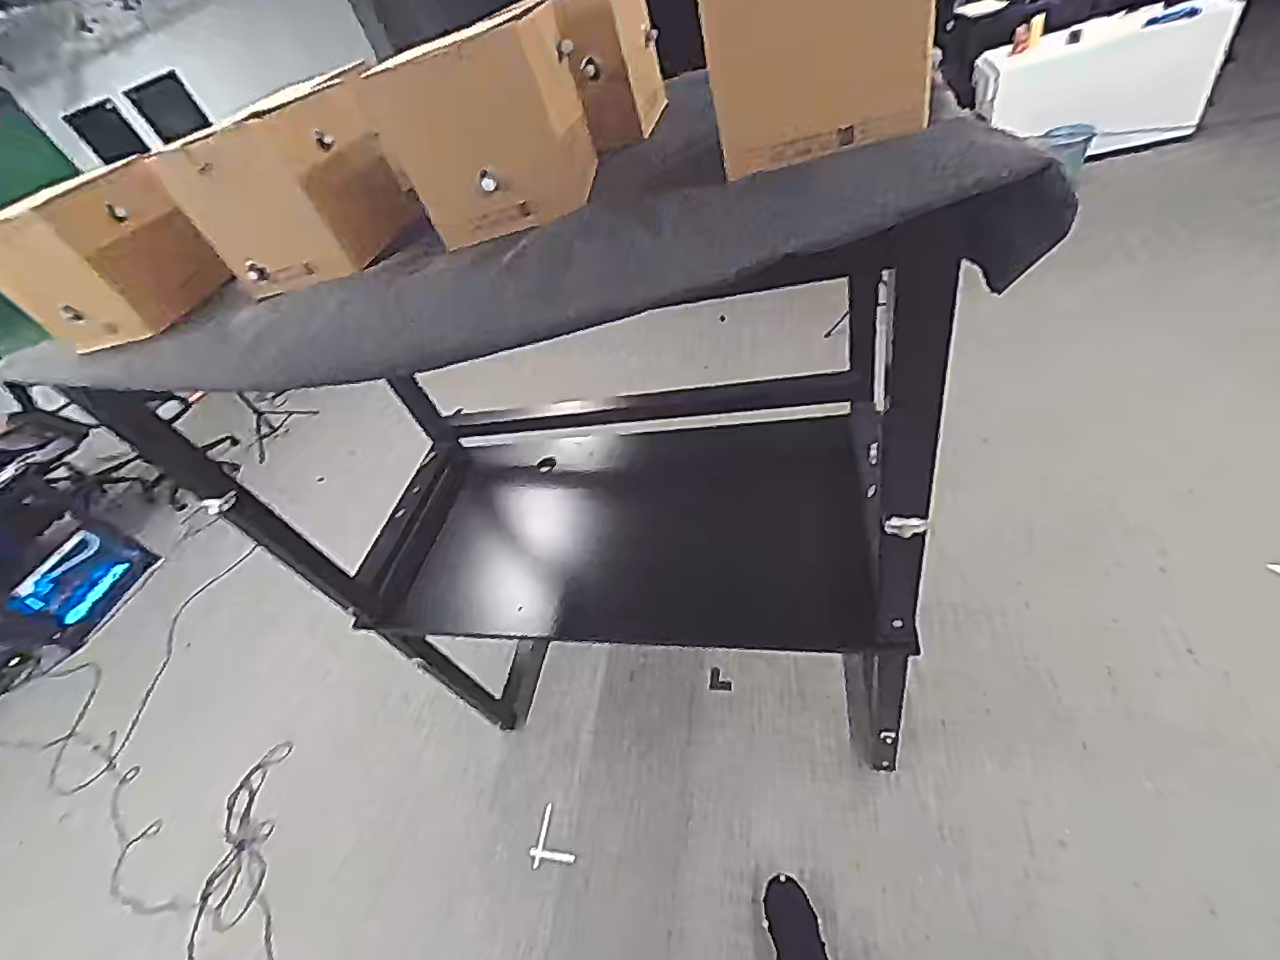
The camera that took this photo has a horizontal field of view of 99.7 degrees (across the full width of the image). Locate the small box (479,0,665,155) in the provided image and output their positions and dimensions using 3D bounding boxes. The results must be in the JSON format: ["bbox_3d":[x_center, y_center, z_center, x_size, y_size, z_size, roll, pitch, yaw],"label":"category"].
[{"bbox_3d":[-0.075,-0.547,0.725,0.179,0.176,0.168,-2,46,20],"label":"small box"}]

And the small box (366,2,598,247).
[{"bbox_3d":[-0.153,-0.386,0.597,0.168,0.176,0.179,-10,45,13],"label":"small box"}]

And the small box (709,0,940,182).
[{"bbox_3d":[0.160,-0.389,0.473,0.168,0.176,0.179,-1,46,22],"label":"small box"}]

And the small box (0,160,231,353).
[{"bbox_3d":[-0.712,-0.297,0.732,0.168,0.176,0.179,-6,46,16],"label":"small box"}]
